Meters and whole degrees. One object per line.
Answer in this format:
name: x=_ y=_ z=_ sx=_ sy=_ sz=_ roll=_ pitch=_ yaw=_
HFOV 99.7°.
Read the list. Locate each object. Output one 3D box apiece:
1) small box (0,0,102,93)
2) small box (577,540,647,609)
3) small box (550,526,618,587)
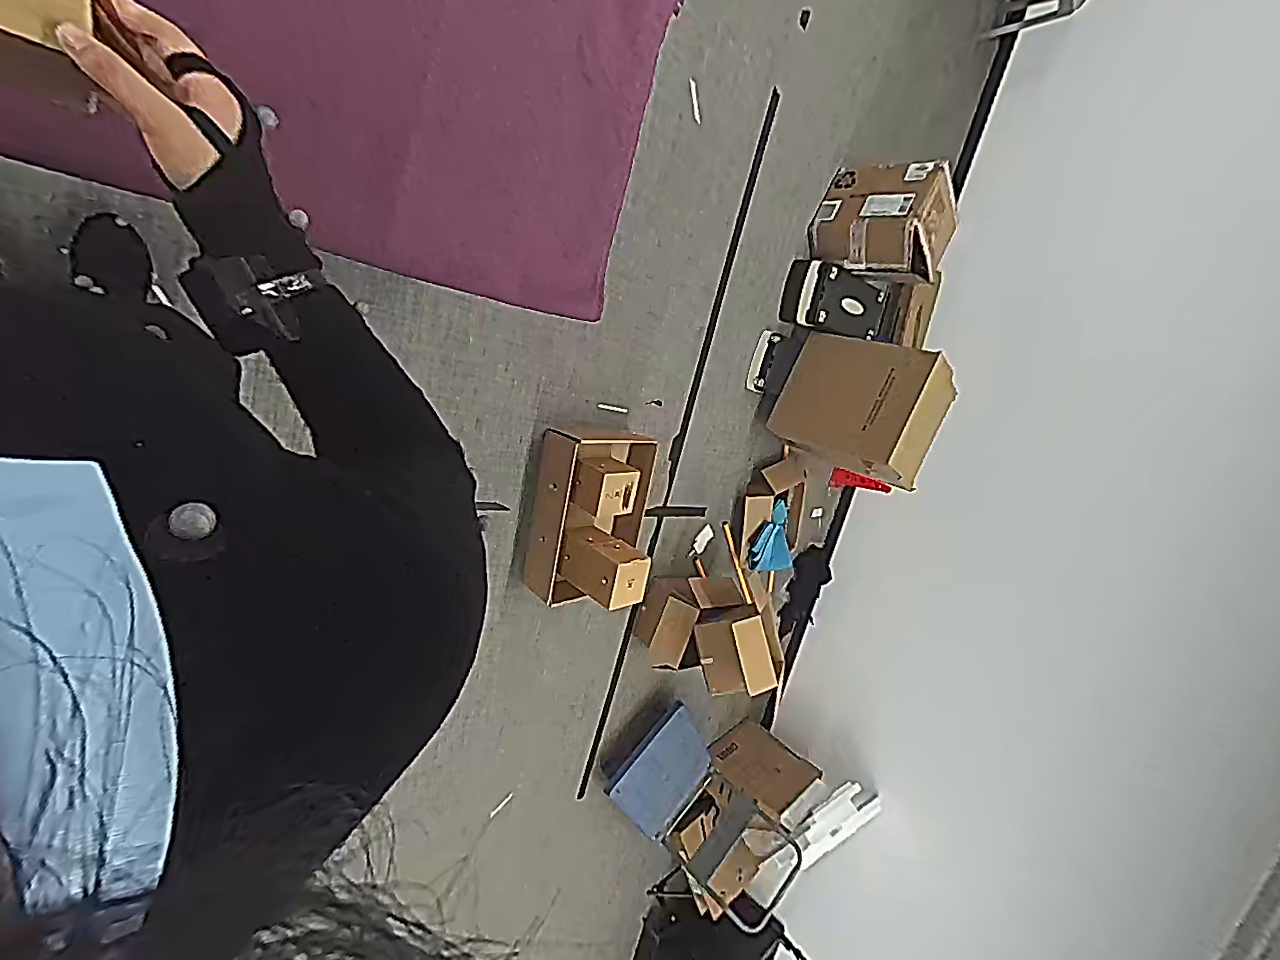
small box: x=-0.421 y=-0.349 z=0.297 sx=0.179 sy=0.176 sz=0.168 roll=-1 pitch=108 yaw=-46
small box: x=-0.103 y=0.329 z=1.915 sx=0.168 sy=0.176 sz=0.179 roll=-2 pitch=110 yaw=-46
small box: x=-0.214 y=0.280 z=2.024 sx=0.179 sy=0.176 sz=0.168 roll=-2 pitch=111 yaw=-47
